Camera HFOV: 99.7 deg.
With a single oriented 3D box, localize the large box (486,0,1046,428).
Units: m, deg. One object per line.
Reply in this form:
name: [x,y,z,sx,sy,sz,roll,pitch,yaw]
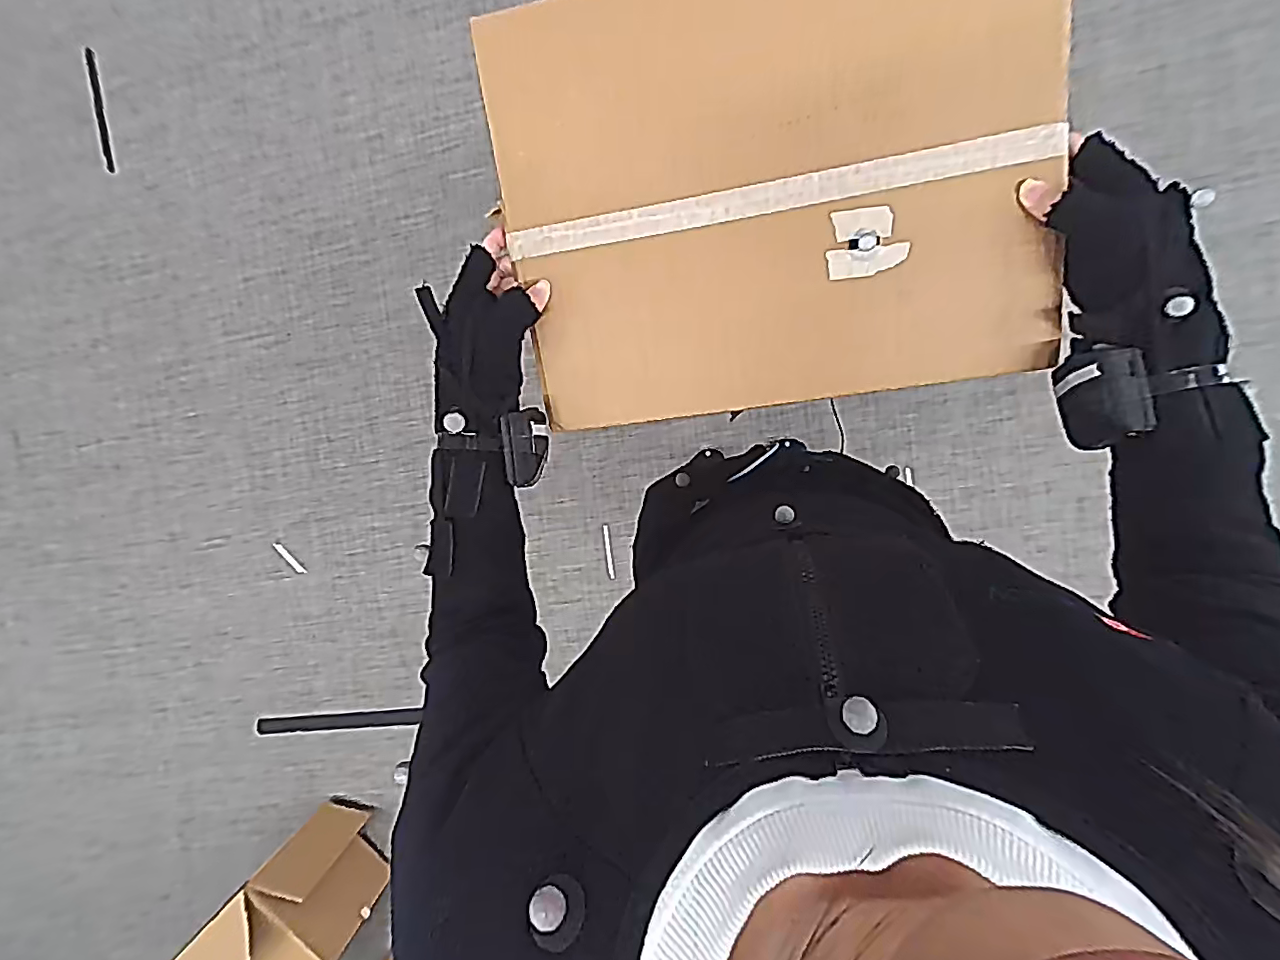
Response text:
large box: [0.113,-0.256,0.565,0.408,0.320,0.320,-7,105,9]
